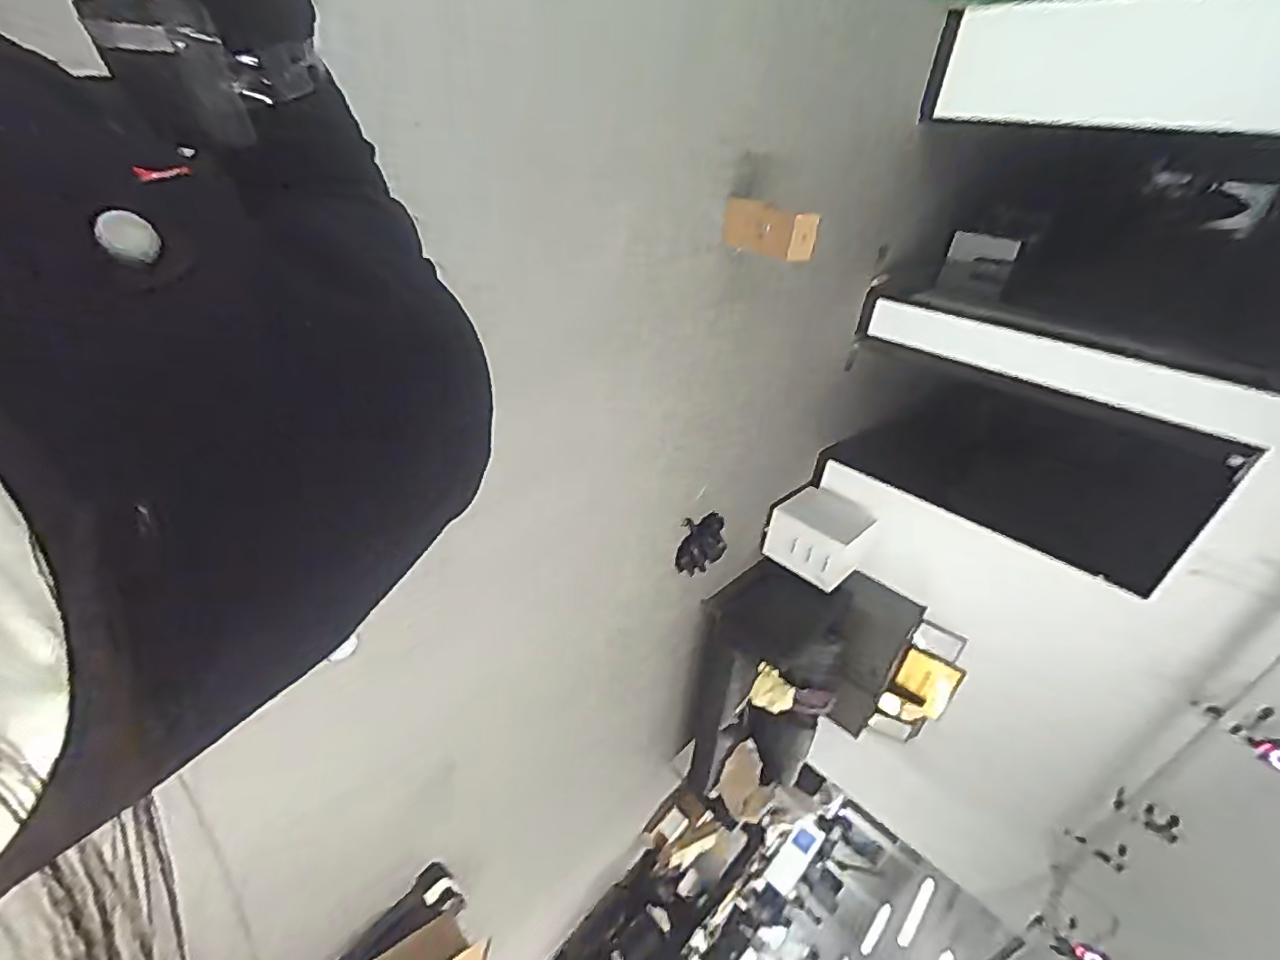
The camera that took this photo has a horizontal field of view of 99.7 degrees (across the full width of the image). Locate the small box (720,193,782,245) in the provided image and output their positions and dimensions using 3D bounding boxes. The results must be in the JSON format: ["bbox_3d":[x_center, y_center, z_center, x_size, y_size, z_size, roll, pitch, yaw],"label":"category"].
[{"bbox_3d":[0.448,-1.061,2.200,0.168,0.176,0.179,-23,132,-41],"label":"small box"}]

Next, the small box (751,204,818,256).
[{"bbox_3d":[0.565,-0.984,2.119,0.179,0.176,0.168,-24,131,-39],"label":"small box"}]
